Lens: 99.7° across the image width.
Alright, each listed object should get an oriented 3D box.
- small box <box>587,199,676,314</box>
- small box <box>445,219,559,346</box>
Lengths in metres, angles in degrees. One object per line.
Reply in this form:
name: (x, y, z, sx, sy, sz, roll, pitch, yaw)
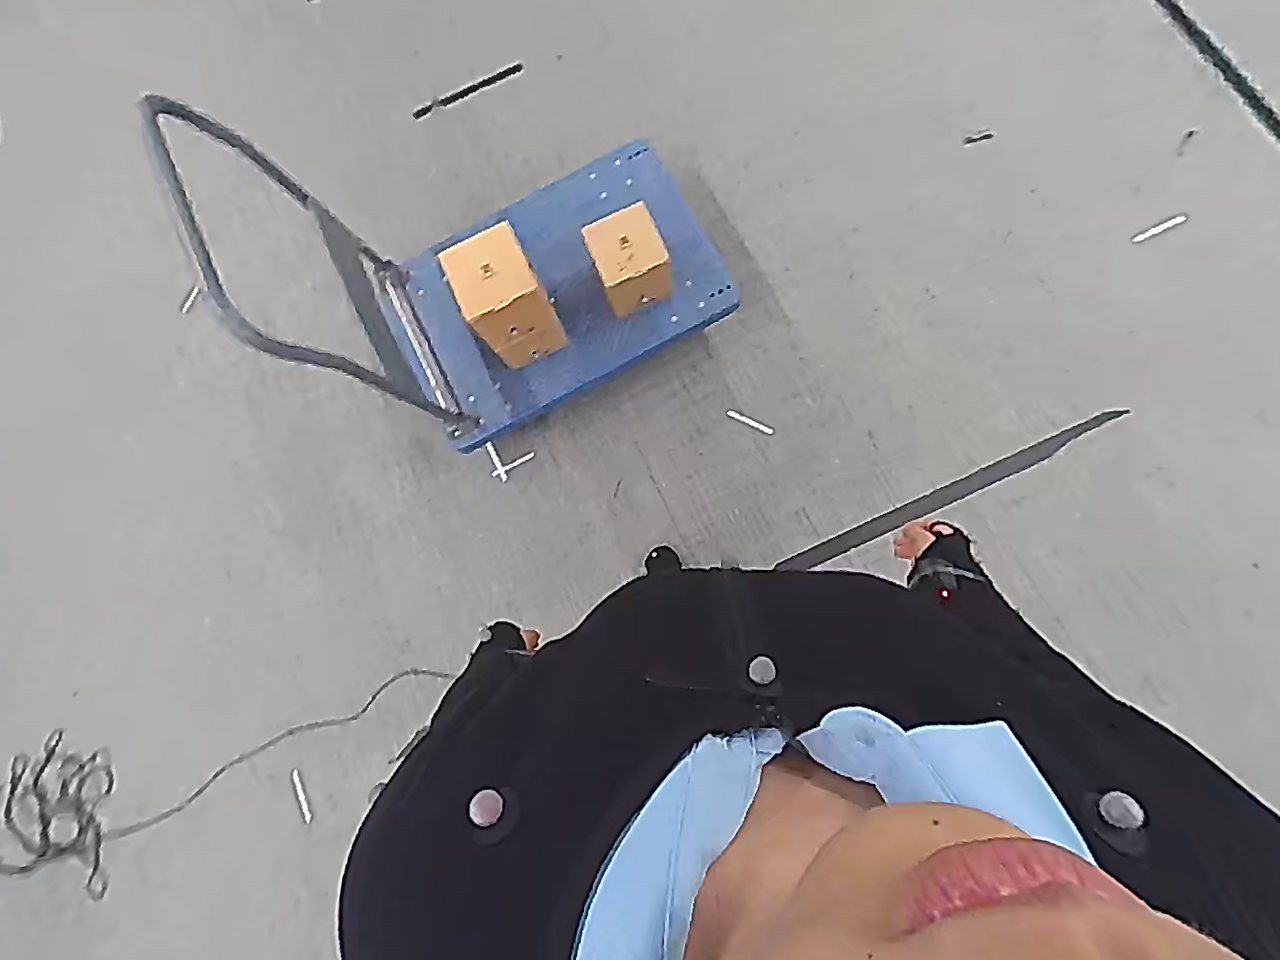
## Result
small box: (-0.017, -0.555, 1.365, 0.168, 0.176, 0.179, -24, 80, 2)
small box: (-0.301, -0.432, 1.208, 0.168, 0.176, 0.179, -26, 81, 1)
